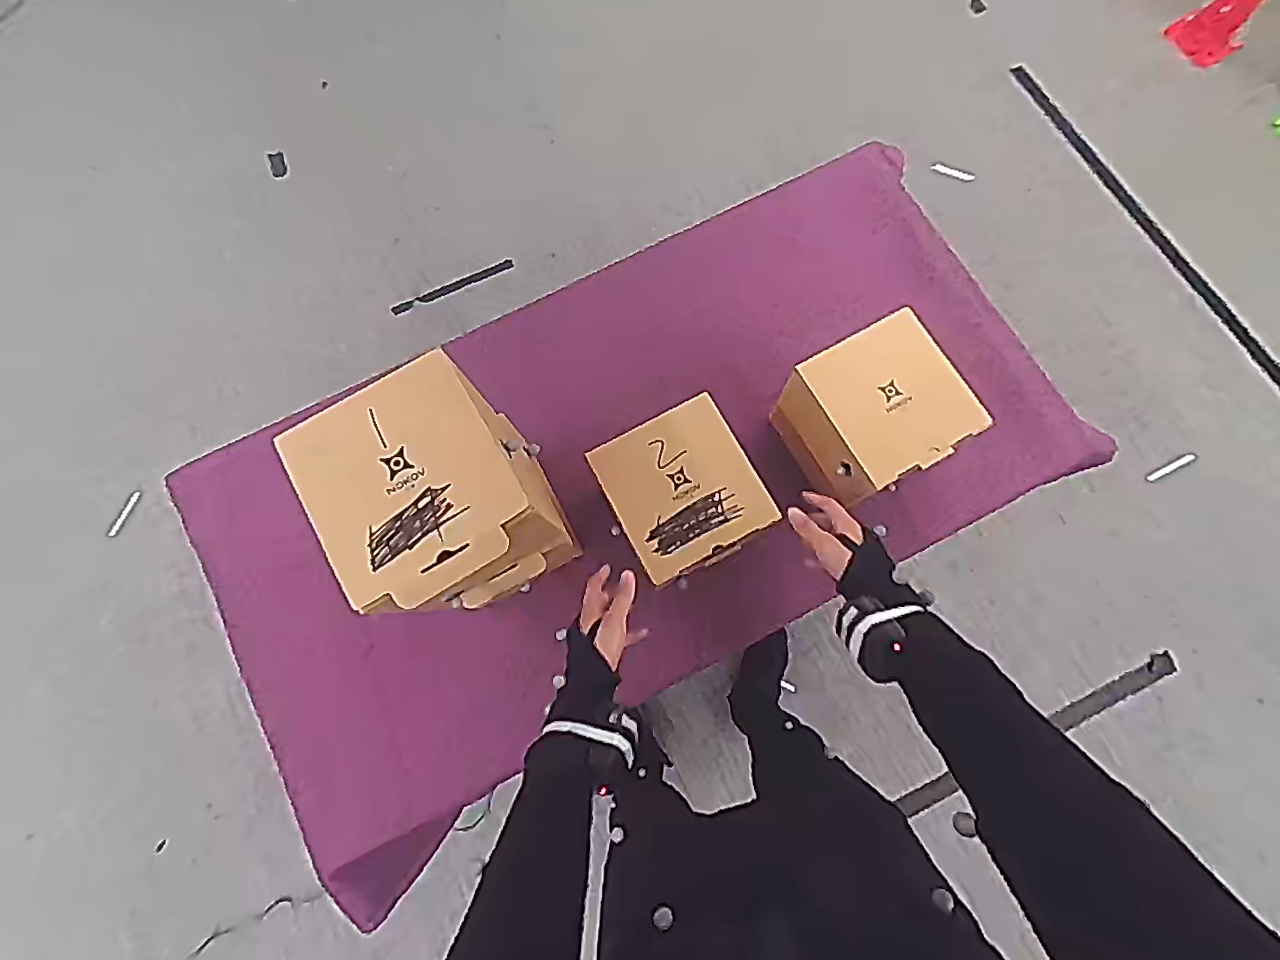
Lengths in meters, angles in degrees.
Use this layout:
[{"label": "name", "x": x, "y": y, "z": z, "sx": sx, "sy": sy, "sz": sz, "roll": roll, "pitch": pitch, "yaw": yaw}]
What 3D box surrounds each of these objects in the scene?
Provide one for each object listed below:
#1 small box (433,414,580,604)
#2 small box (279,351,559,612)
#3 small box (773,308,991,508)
[{"label": "small box", "x": -0.192, "y": 0.048, "z": 0.697, "sx": 0.168, "sy": 0.176, "sz": 0.179, "roll": -27, "pitch": 78, "yaw": -4}, {"label": "small box", "x": -0.198, "y": 0.012, "z": 0.536, "sx": 0.168, "sy": 0.176, "sz": 0.179, "roll": -31, "pitch": 78, "yaw": -6}, {"label": "small box", "x": 0.299, "y": -0.084, "z": 0.715, "sx": 0.168, "sy": 0.176, "sz": 0.179, "roll": -29, "pitch": 78, "yaw": -5}]
